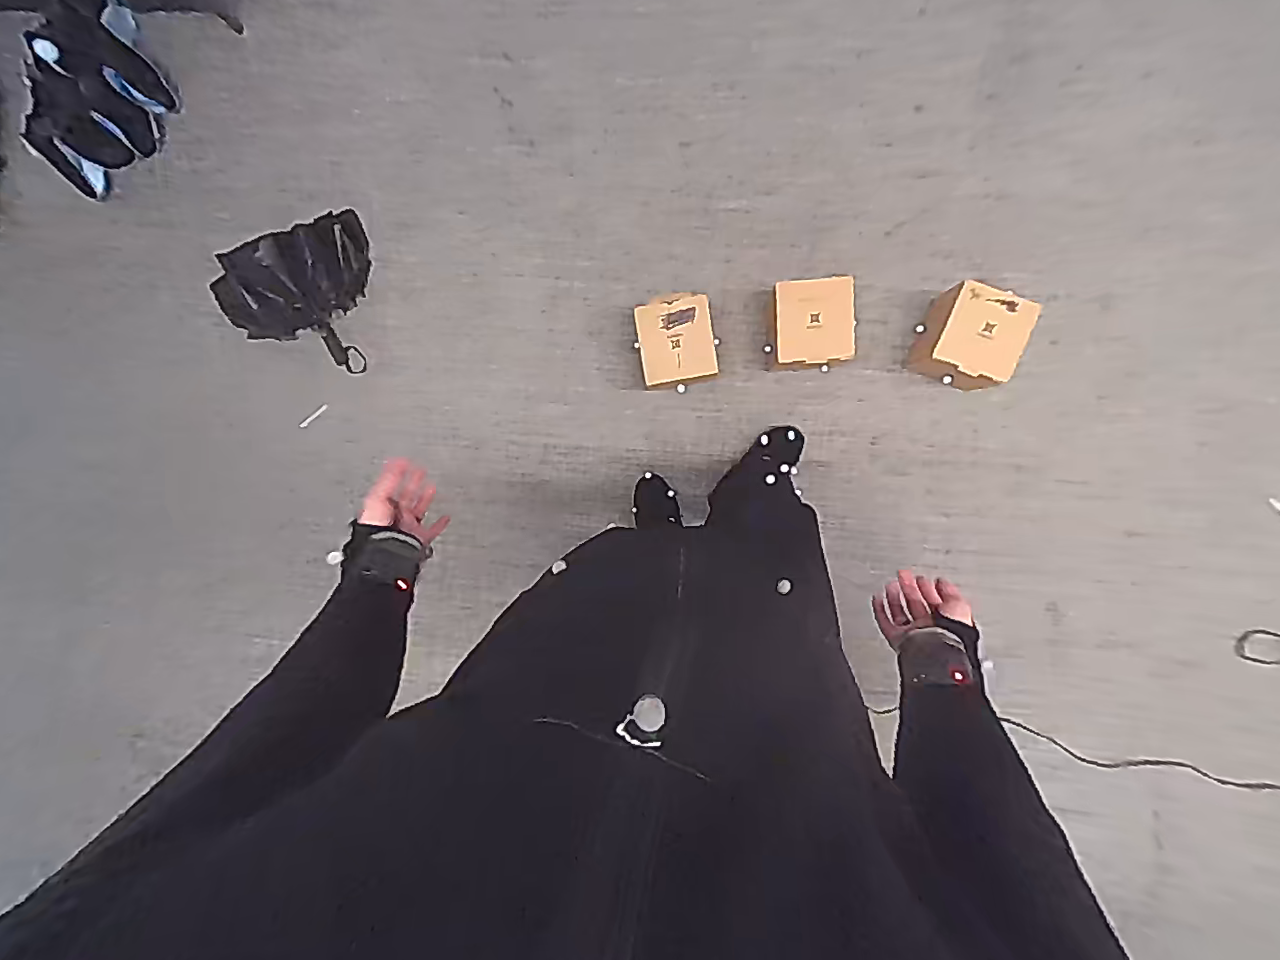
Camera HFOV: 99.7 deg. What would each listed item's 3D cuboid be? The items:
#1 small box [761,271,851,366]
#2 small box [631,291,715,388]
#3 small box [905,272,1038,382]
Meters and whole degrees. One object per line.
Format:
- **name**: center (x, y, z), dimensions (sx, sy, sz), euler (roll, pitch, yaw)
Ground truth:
- **small box**: center (0.373, -0.358, 1.235), dimensions (0.168, 0.176, 0.179), euler (-4, 93, 5)
- **small box**: center (0.078, -0.320, 1.262), dimensions (0.168, 0.176, 0.179), euler (-10, 95, 6)
- **small box**: center (0.720, -0.328, 1.201), dimensions (0.168, 0.176, 0.179), euler (22, 97, 4)
